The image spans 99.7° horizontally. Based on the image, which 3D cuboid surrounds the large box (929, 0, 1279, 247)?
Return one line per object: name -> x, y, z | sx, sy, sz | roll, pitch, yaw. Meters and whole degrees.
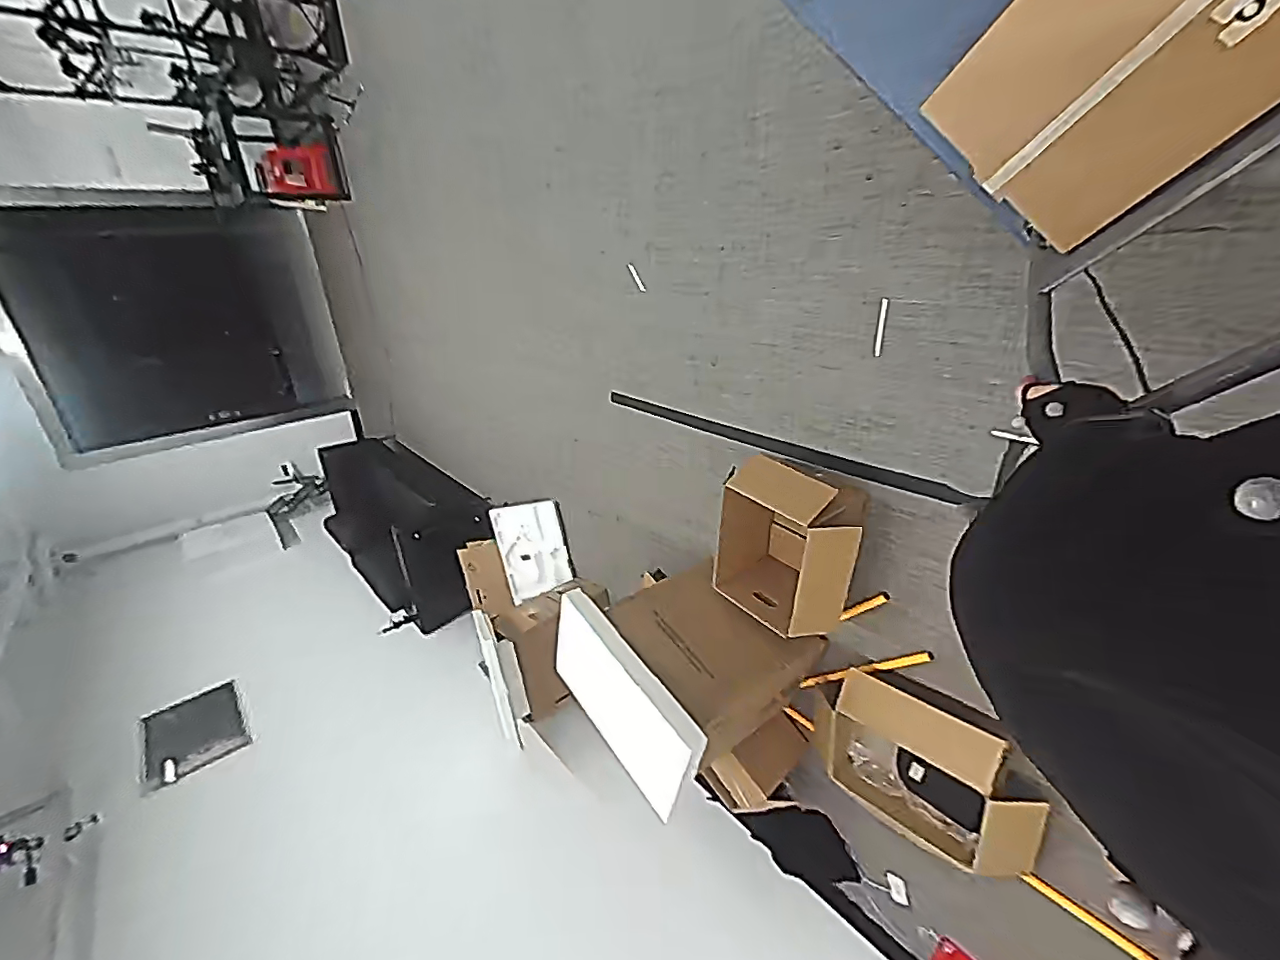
large box -> 0.696, -0.624, 0.746 | 0.320, 0.320, 0.408 | 42, 141, -3
